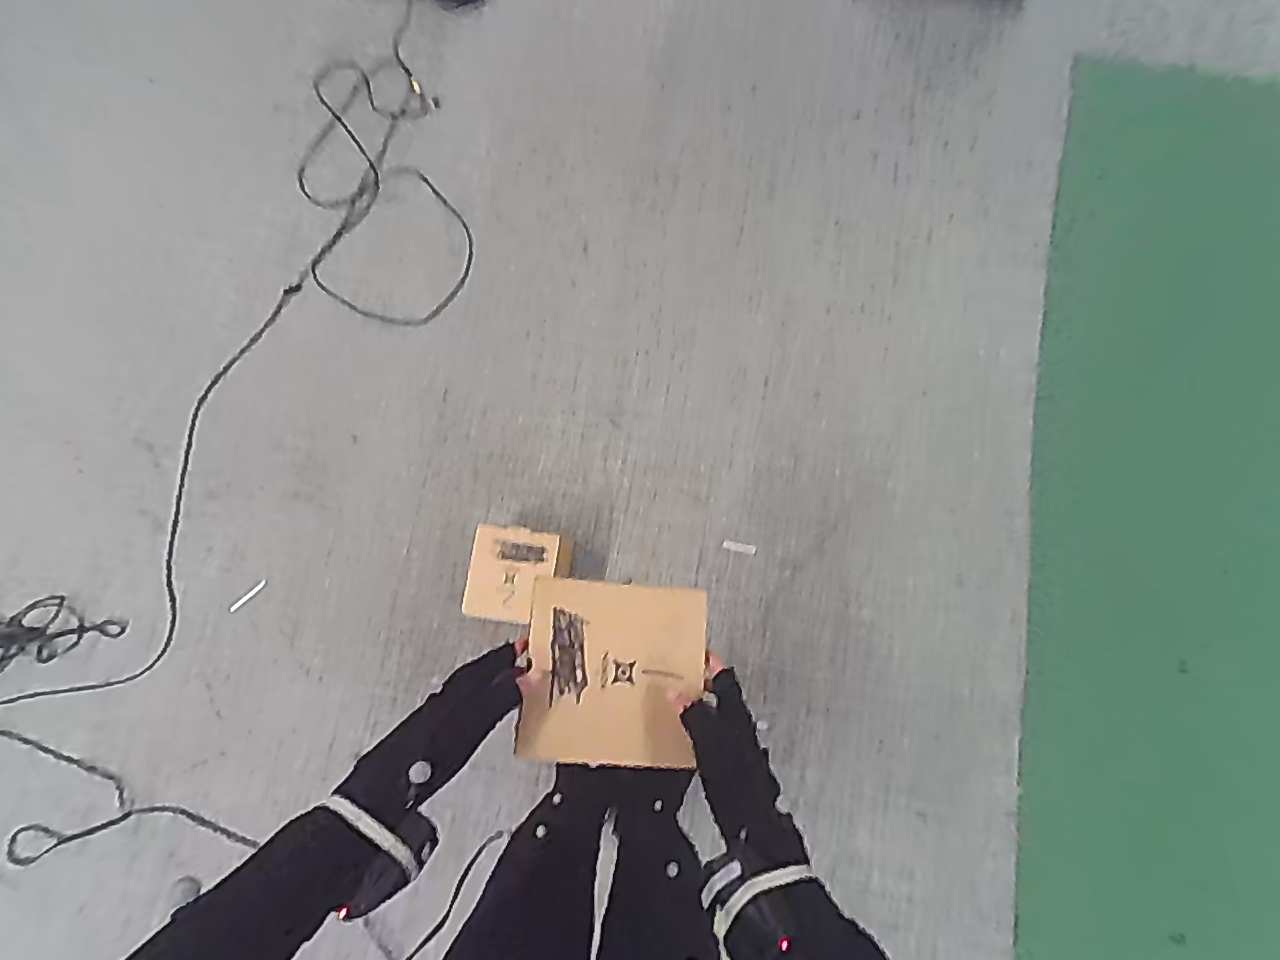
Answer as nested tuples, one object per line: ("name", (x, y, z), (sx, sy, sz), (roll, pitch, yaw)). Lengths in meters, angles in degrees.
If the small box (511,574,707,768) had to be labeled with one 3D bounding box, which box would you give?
("small box", (-0.031, 0.199, 0.590), (0.179, 0.176, 0.168), (5, 76, -4))
